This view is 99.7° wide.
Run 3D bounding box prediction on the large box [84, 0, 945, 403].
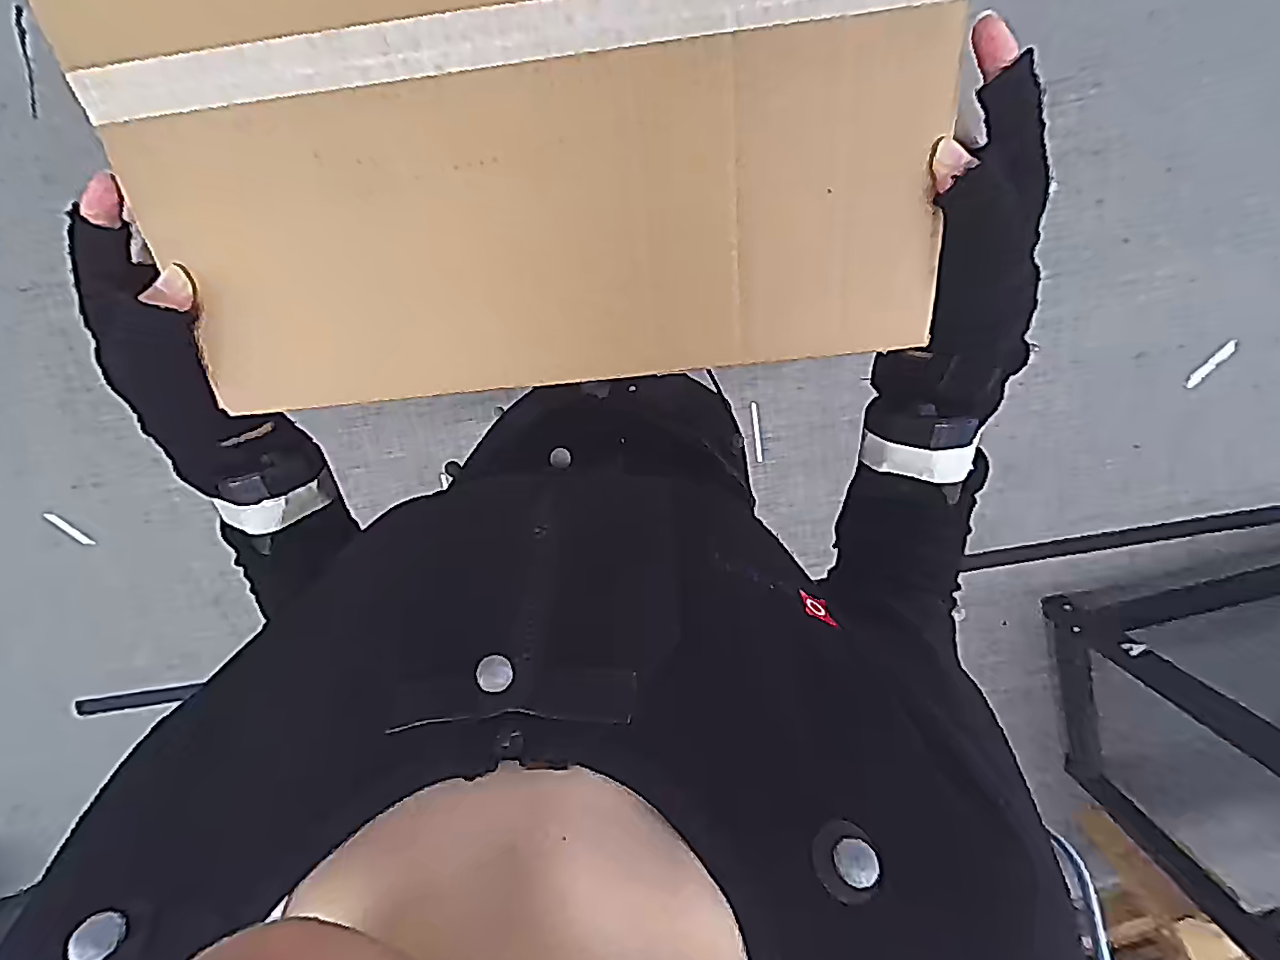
[{"bbox_3d":[-0.057,-0.265,0.391,0.408,0.320,0.320,-5,115,4],"label":"large box"}]
